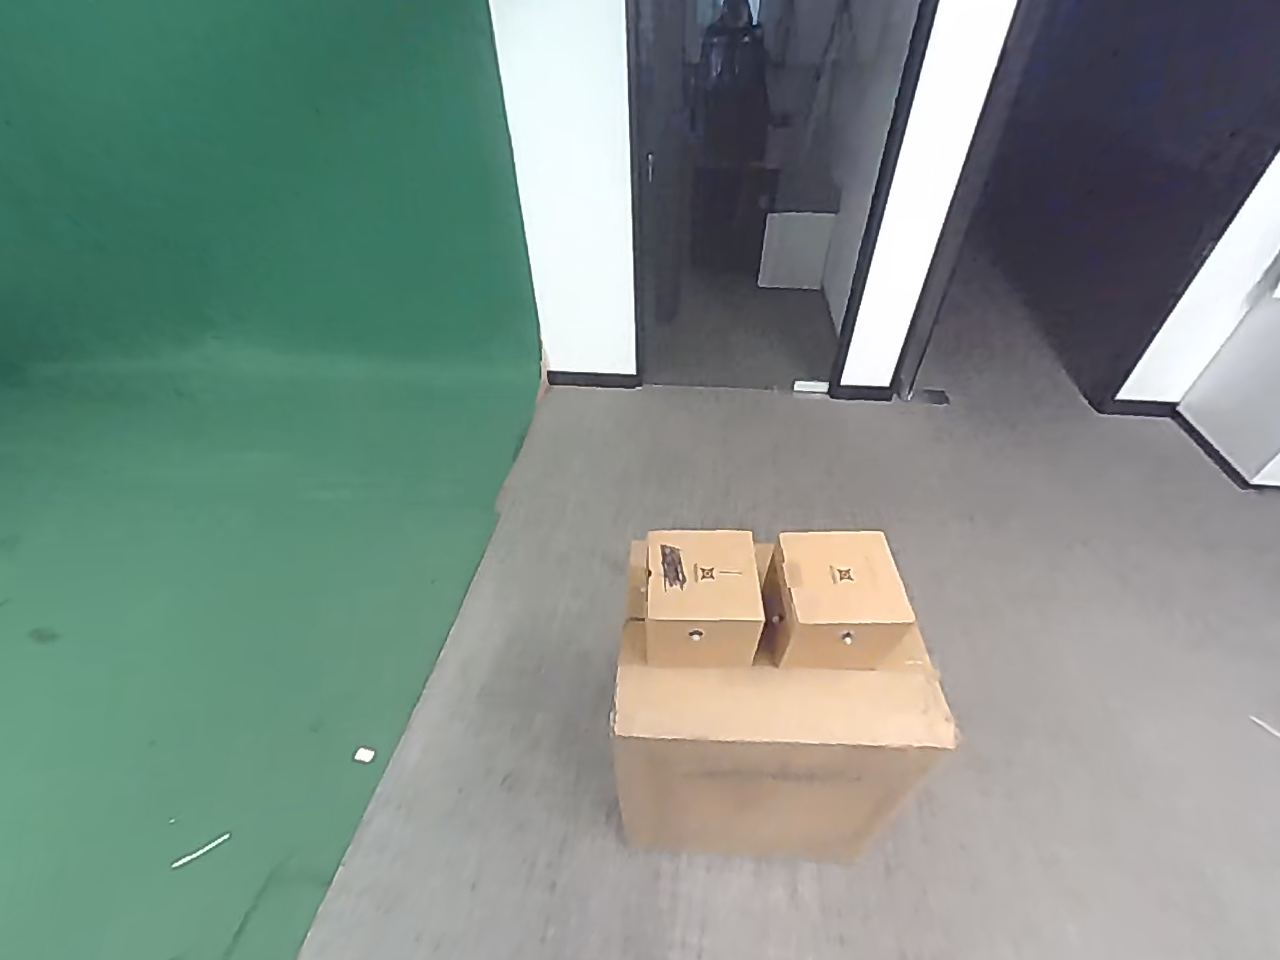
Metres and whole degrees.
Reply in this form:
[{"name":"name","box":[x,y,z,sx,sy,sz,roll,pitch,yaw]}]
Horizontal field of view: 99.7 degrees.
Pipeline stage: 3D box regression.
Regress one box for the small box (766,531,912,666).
[{"name":"small box","box":[0.314,0.201,0.904,0.179,0.176,0.168,0,49,0]}]

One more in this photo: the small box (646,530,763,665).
[{"name":"small box","box":[0.100,0.200,0.909,0.179,0.176,0.168,0,48,1]}]
